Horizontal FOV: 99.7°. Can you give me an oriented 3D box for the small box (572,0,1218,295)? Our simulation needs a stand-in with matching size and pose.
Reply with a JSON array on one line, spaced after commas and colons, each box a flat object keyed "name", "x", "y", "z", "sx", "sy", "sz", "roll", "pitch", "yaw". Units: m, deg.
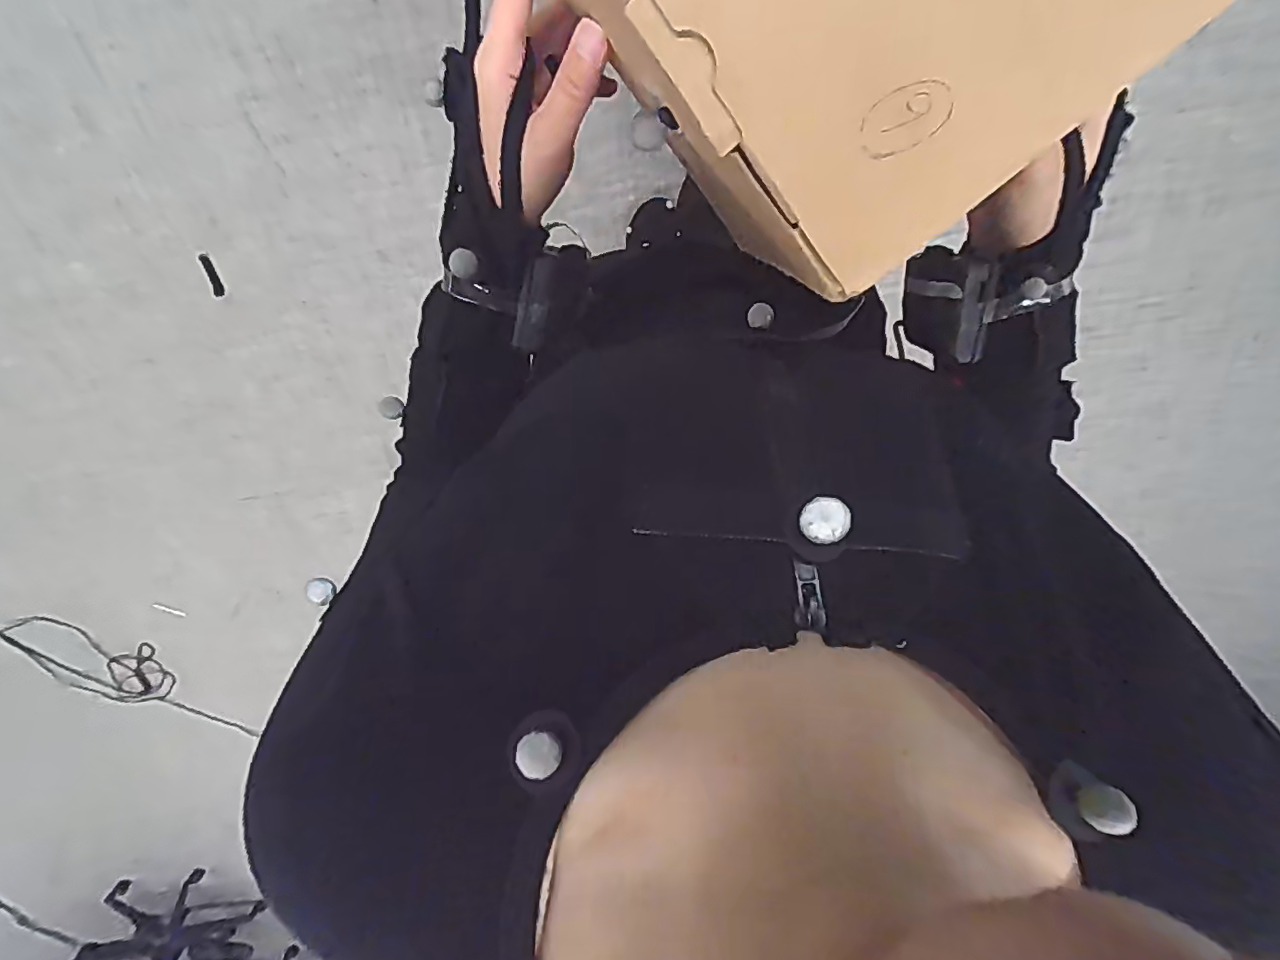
[{"name": "small box", "x": 0.074, "y": -0.199, "z": 0.195, "sx": 0.179, "sy": 0.176, "sz": 0.168, "roll": -37, "pitch": 112, "yaw": 18}]
